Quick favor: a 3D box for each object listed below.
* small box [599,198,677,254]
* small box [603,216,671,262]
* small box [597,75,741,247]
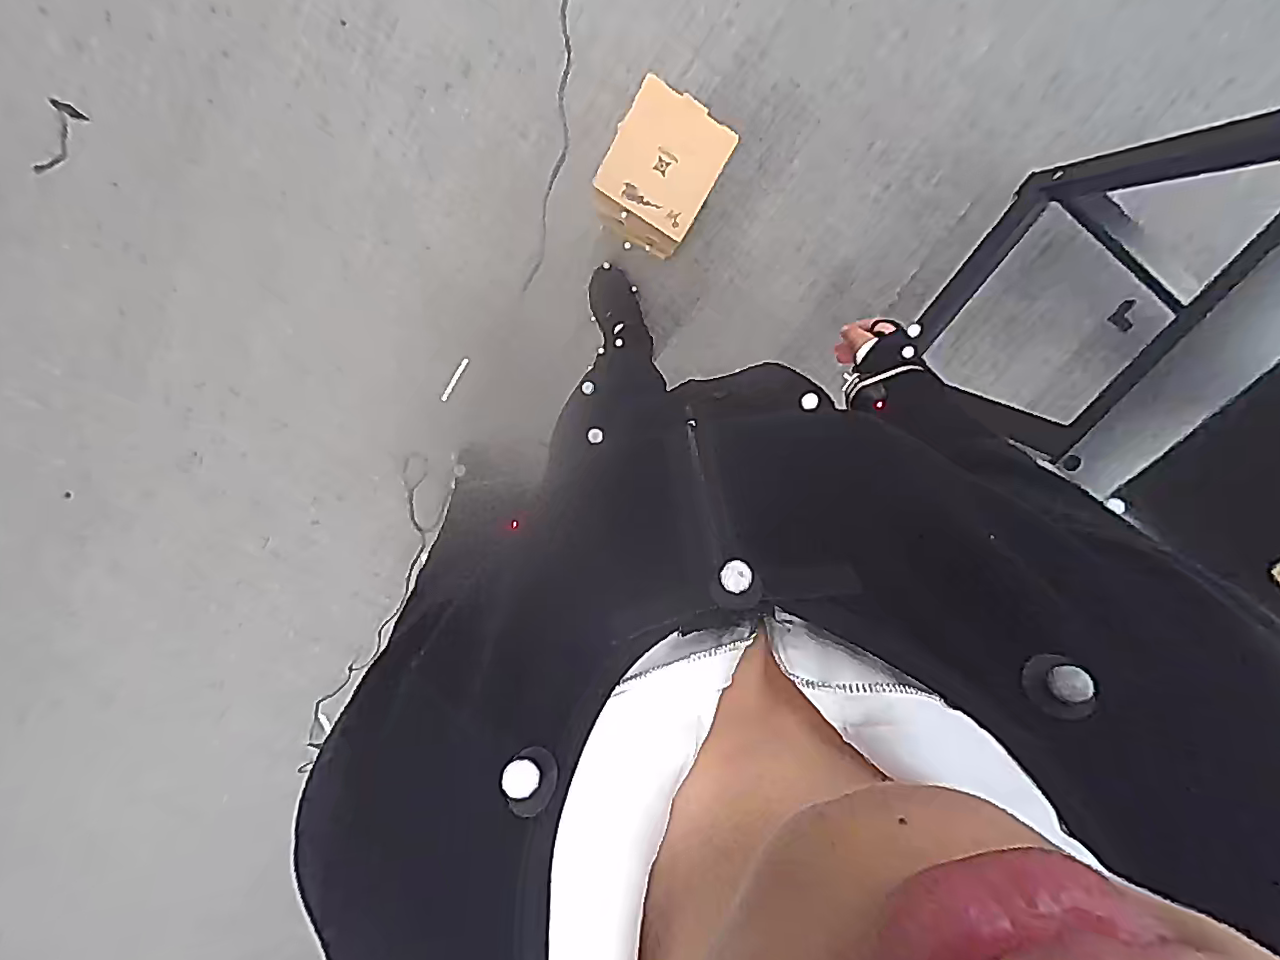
[{"bbox_3d":[0.033,-0.565,1.066,0.168,0.176,0.179,25,106,-10],"label":"small box"},{"bbox_3d":[0.031,-0.614,1.220,0.168,0.176,0.179,29,108,-10],"label":"small box"},{"bbox_3d":[0.041,-0.517,0.908,0.168,0.176,0.179,29,107,-10],"label":"small box"}]
